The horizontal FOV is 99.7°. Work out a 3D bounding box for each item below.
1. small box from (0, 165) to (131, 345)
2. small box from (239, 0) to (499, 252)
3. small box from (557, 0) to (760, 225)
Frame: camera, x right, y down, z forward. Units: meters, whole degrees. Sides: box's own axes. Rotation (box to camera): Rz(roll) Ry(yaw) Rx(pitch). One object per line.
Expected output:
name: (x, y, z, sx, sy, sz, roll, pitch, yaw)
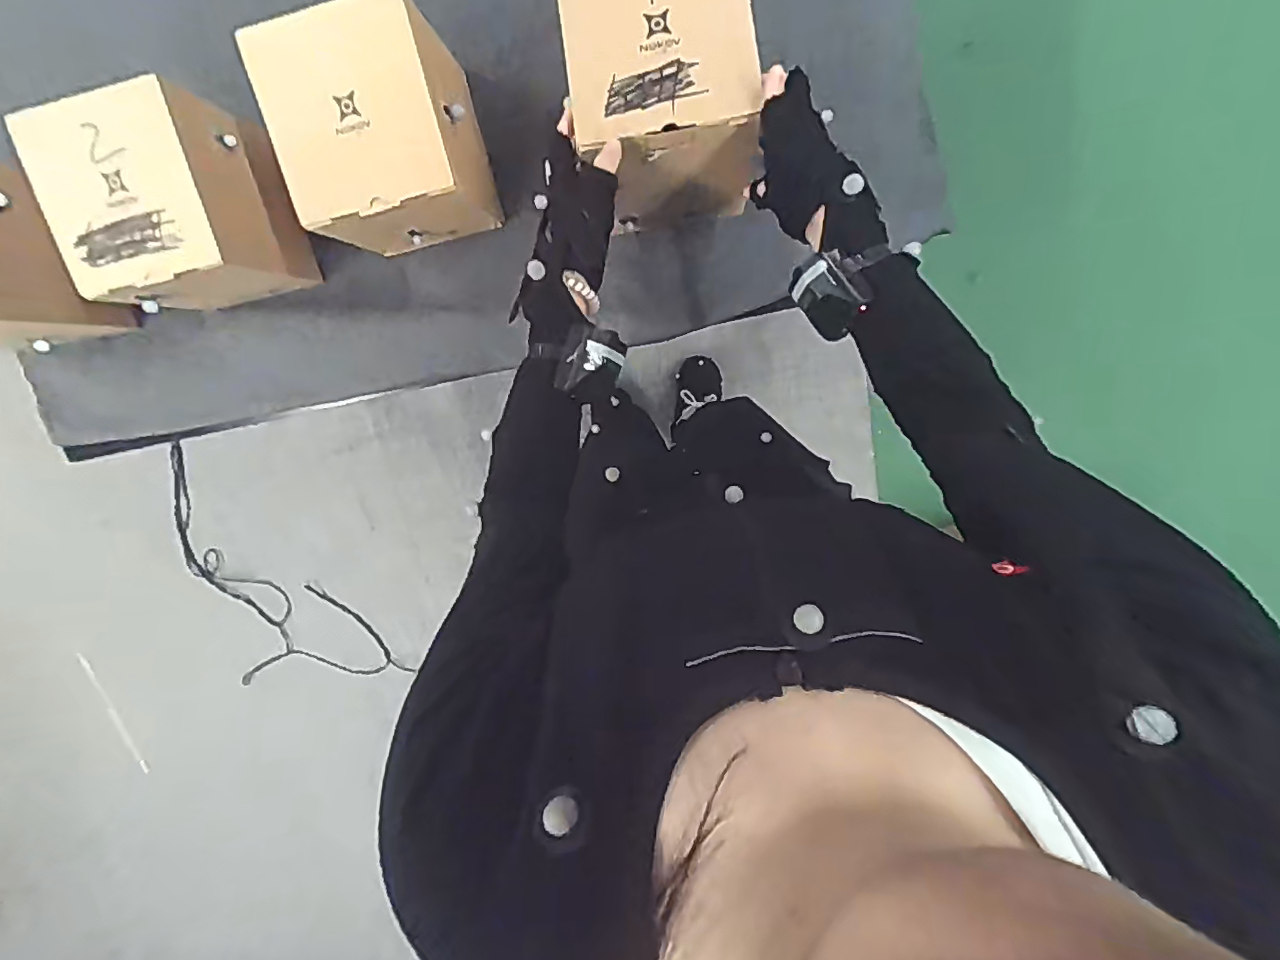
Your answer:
small box: (-0.768, -0.260, 0.630, 0.168, 0.176, 0.179, -9, 102, 4)
small box: (-0.273, -0.370, 0.591, 0.168, 0.176, 0.179, -12, 104, 5)
small box: (0.020, -0.379, 0.544, 0.168, 0.176, 0.179, -7, 88, 3)
